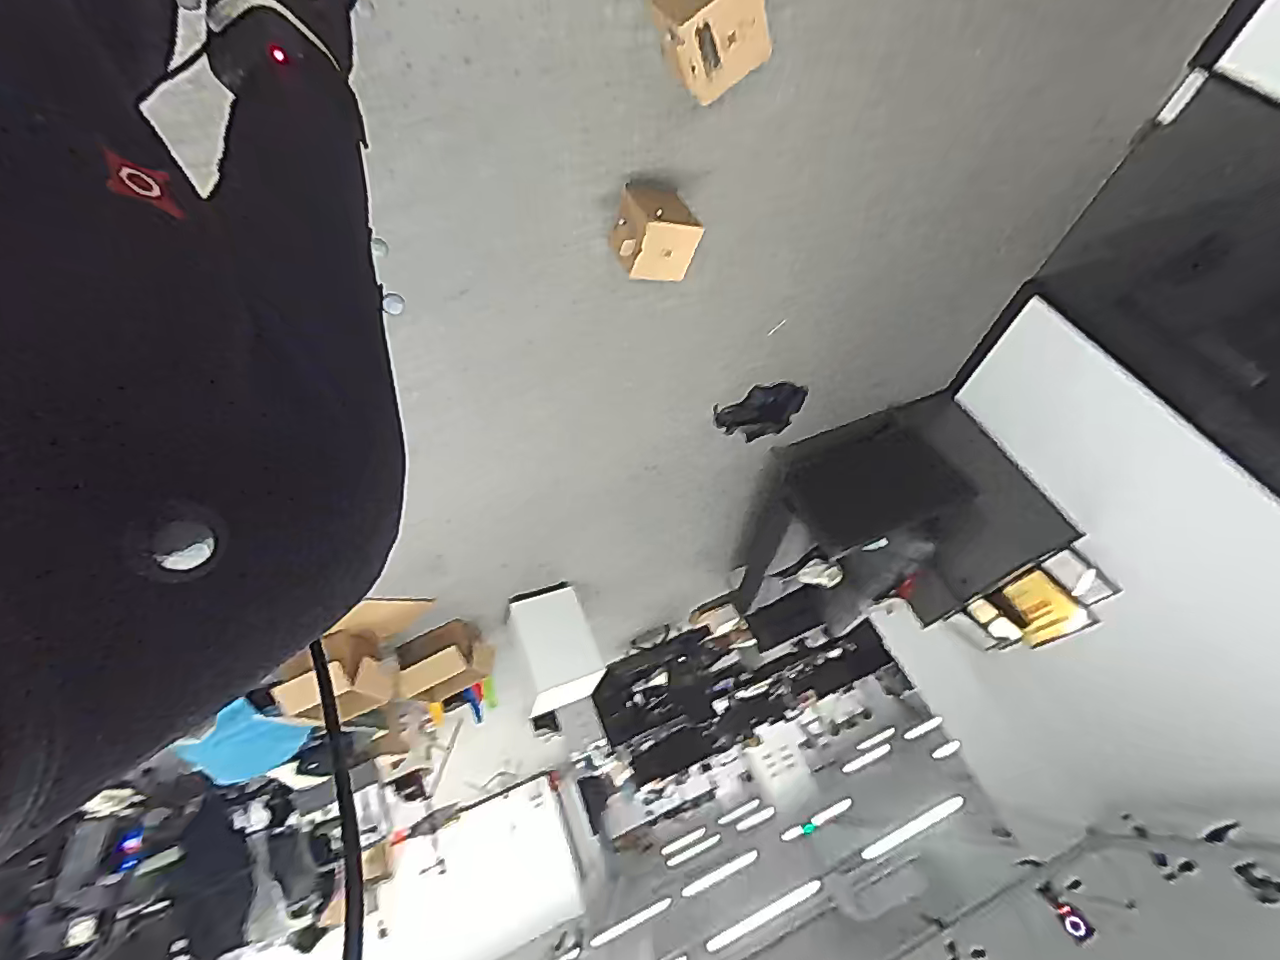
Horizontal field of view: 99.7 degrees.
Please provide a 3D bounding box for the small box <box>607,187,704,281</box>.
[{"bbox_3d":[0.036,-0.665,1.466,0.179,0.176,0.168,-9,148,-29],"label":"small box"}]
